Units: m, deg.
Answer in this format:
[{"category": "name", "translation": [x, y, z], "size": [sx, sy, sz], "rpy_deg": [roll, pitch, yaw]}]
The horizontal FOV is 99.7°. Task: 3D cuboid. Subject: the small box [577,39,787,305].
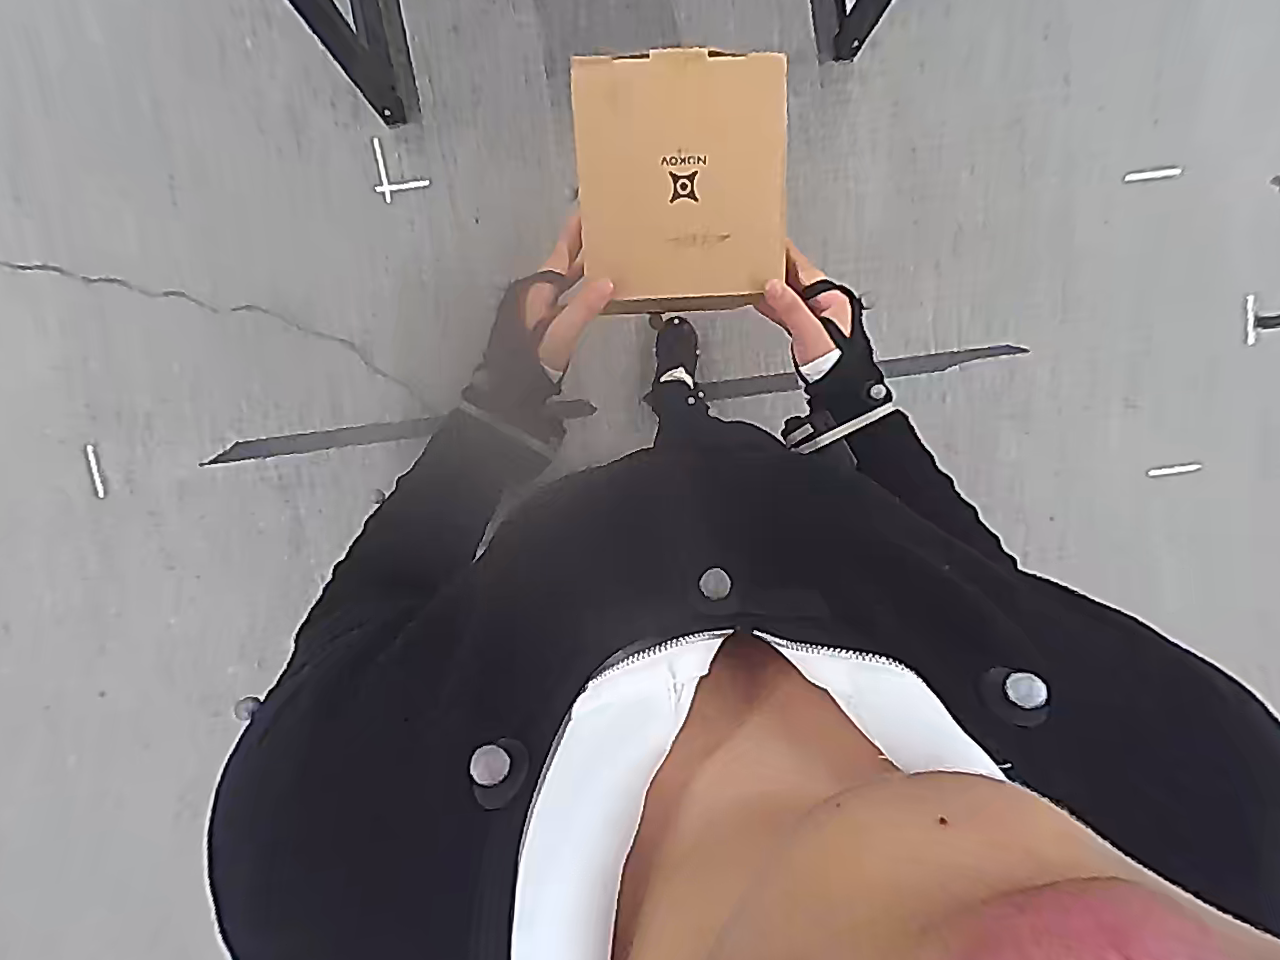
[{"category": "small box", "translation": [0.028, -0.266, 0.505], "size": [0.168, 0.176, 0.179], "rpy_deg": [-4, 104, -3]}]
